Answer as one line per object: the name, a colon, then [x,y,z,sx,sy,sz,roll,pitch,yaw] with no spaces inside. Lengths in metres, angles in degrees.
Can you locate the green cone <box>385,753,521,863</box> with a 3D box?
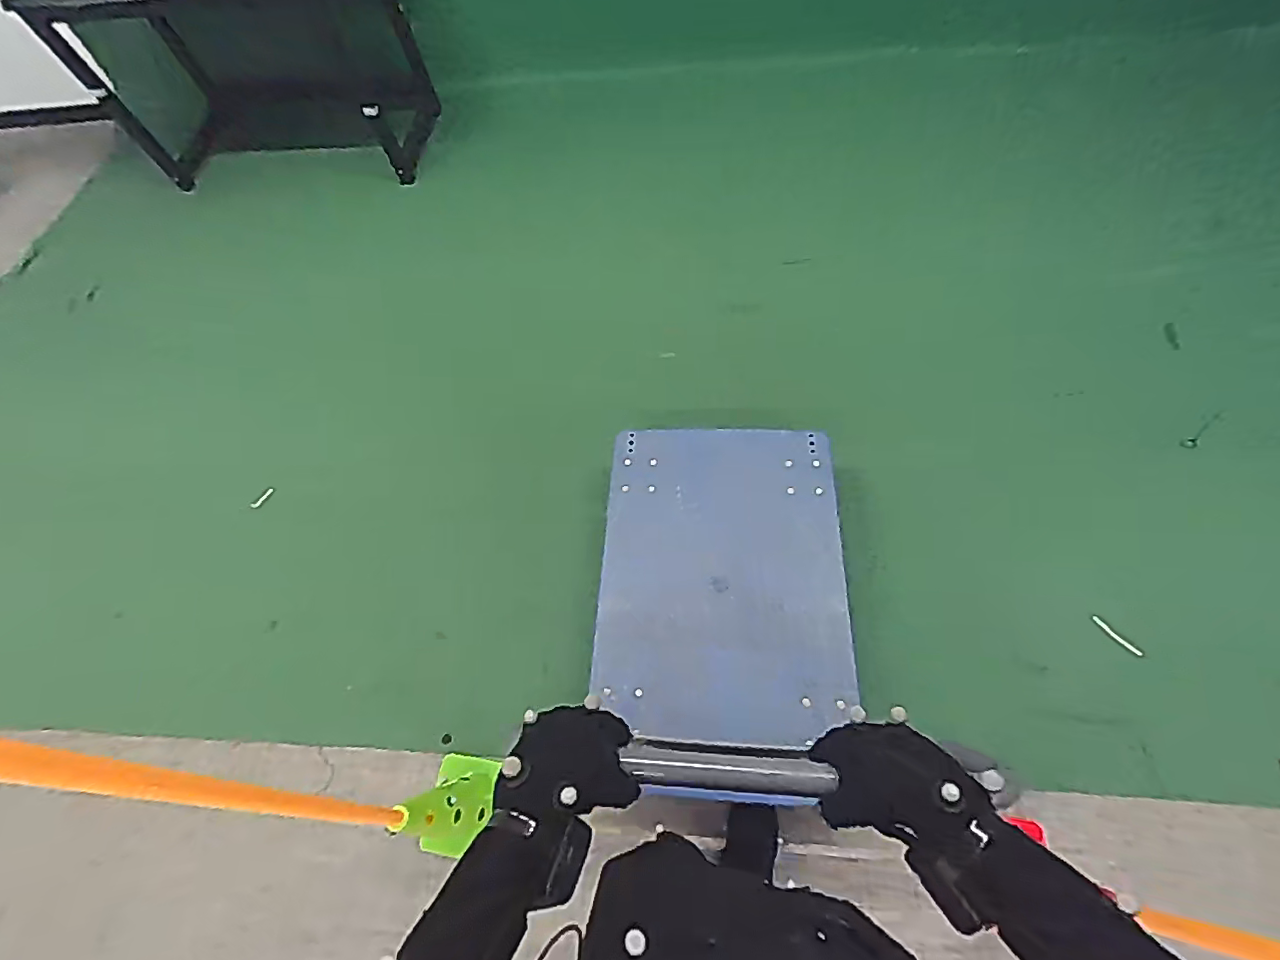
green cone: [-0.409,0.678,1.113,0.202,0.368,0.200,4,62,10]
